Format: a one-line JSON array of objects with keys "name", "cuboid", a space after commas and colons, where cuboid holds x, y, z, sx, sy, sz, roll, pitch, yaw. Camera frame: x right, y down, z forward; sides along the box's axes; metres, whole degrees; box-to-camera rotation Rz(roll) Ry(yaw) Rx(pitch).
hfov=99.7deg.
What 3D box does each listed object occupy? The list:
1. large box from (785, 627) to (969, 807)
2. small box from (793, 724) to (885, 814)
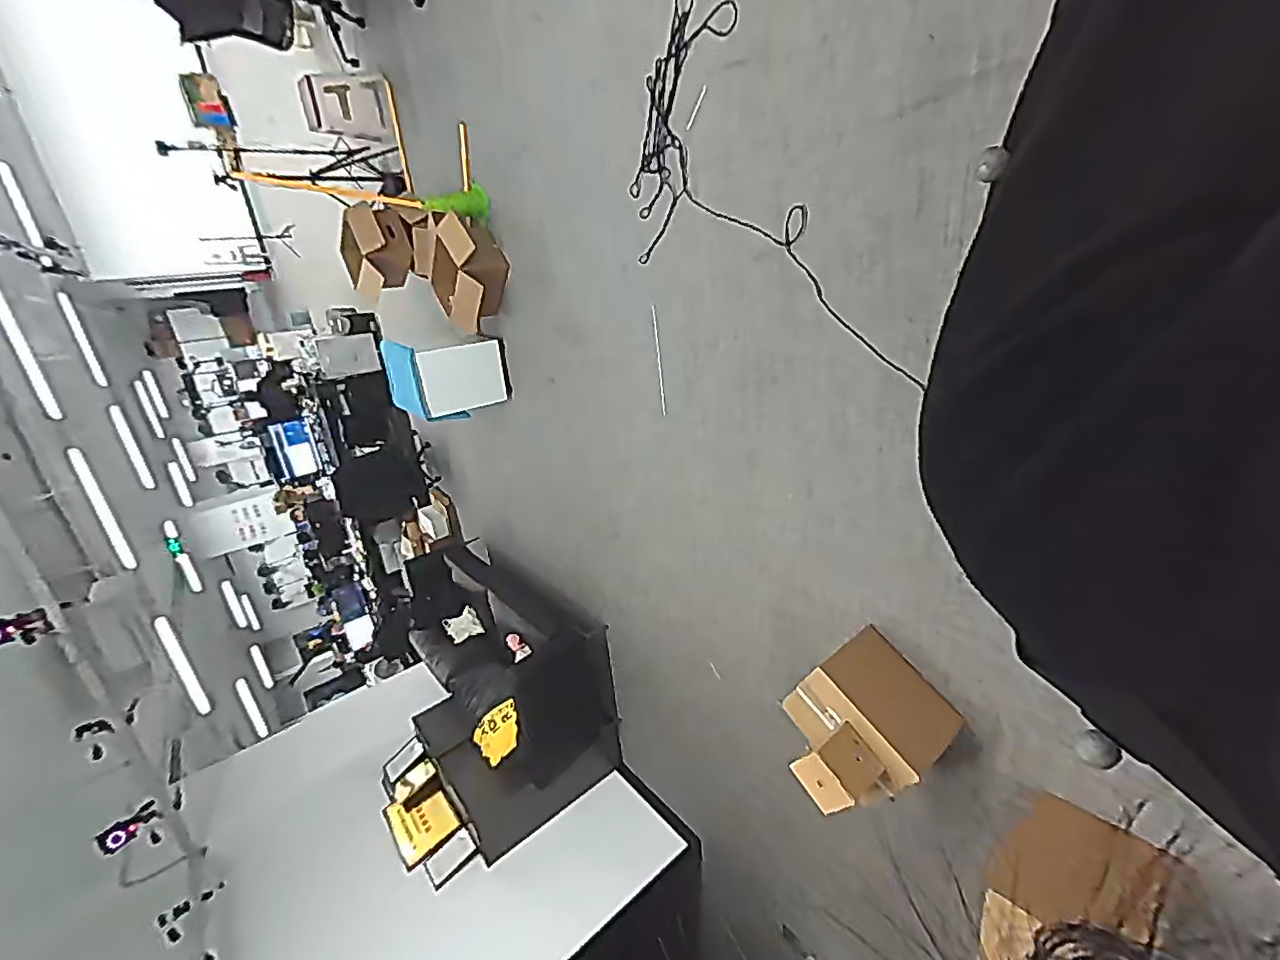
[{"name": "large box", "cuboid": [0.784, 0.786, 1.823, 0.408, 0.320, 0.320, 49, 141, 29]}, {"name": "small box", "cuboid": [0.618, 0.893, 1.674, 0.168, 0.176, 0.179, 51, 143, 25]}]
